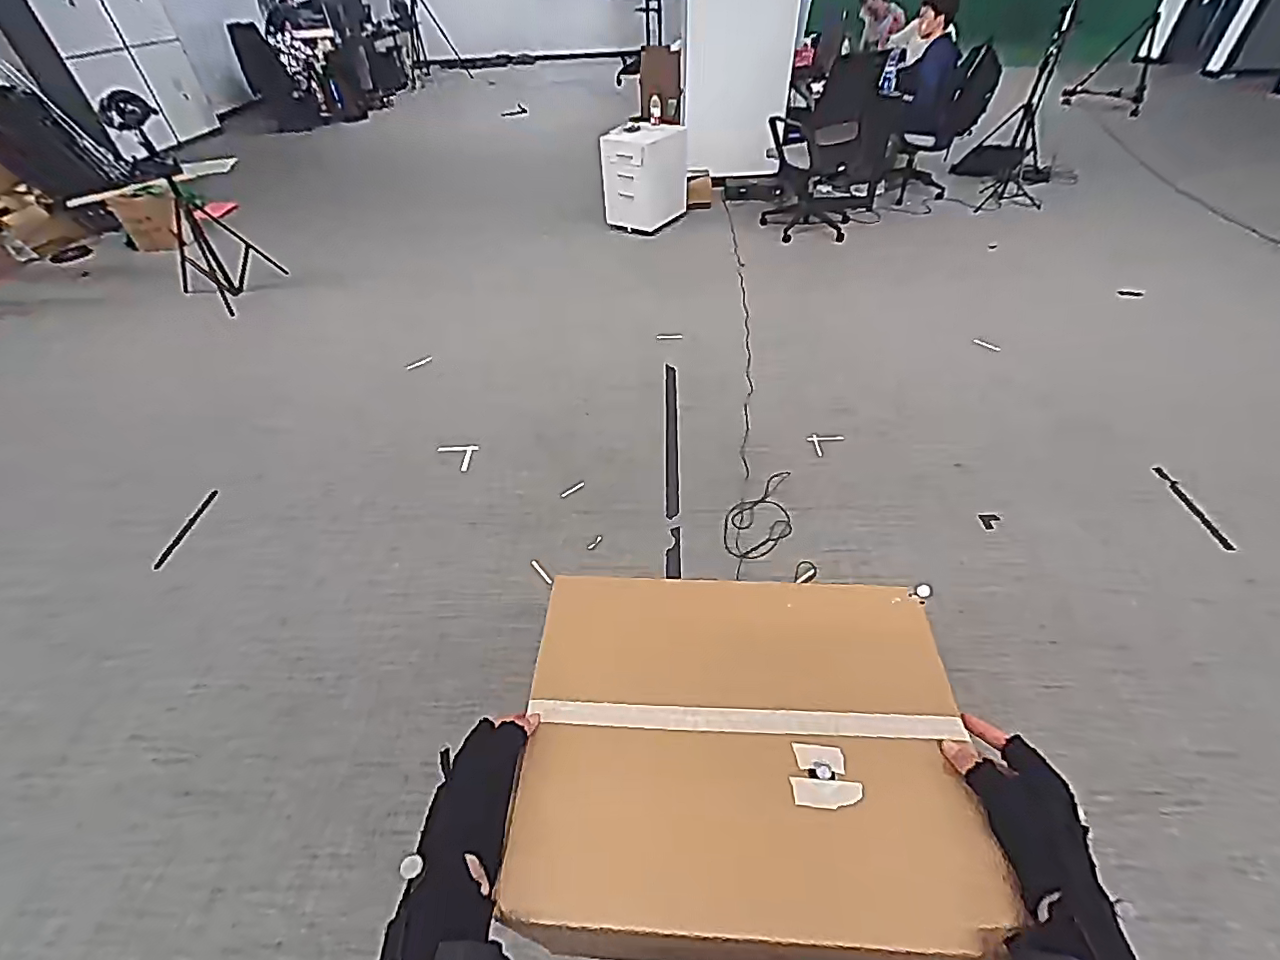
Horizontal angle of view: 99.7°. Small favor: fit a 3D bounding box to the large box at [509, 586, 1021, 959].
[{"bbox_3d":[0.103,0.340,0.625,0.408,0.320,0.320,1,46,4],"label":"large box"}]
